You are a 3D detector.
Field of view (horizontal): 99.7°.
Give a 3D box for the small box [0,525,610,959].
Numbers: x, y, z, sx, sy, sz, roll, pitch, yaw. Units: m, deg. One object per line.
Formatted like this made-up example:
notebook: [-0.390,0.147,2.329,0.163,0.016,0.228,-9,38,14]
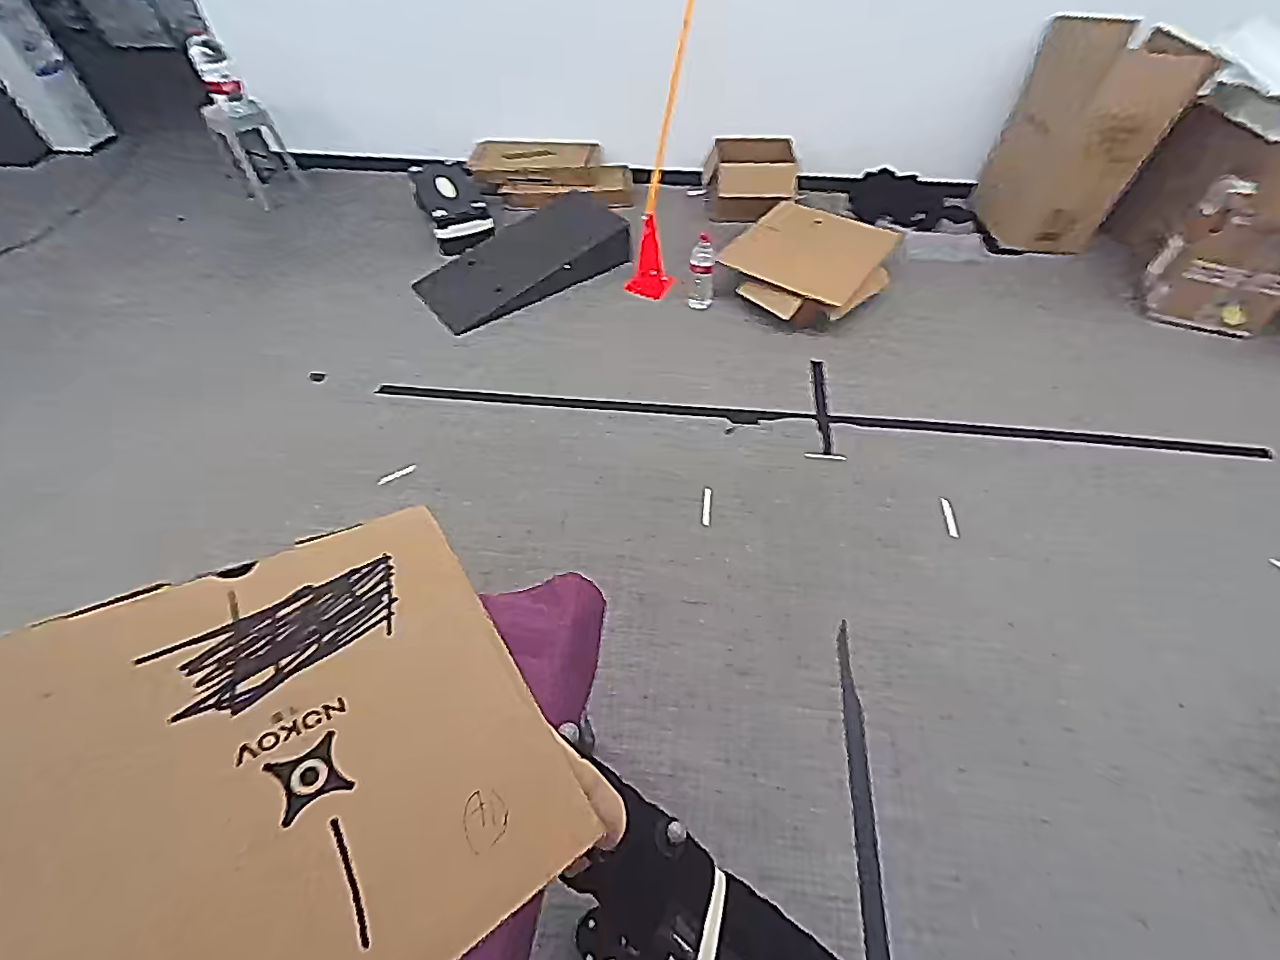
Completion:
small box: [-0.146,0.156,0.264,0.168,0.176,0.179,-20,64,-35]
